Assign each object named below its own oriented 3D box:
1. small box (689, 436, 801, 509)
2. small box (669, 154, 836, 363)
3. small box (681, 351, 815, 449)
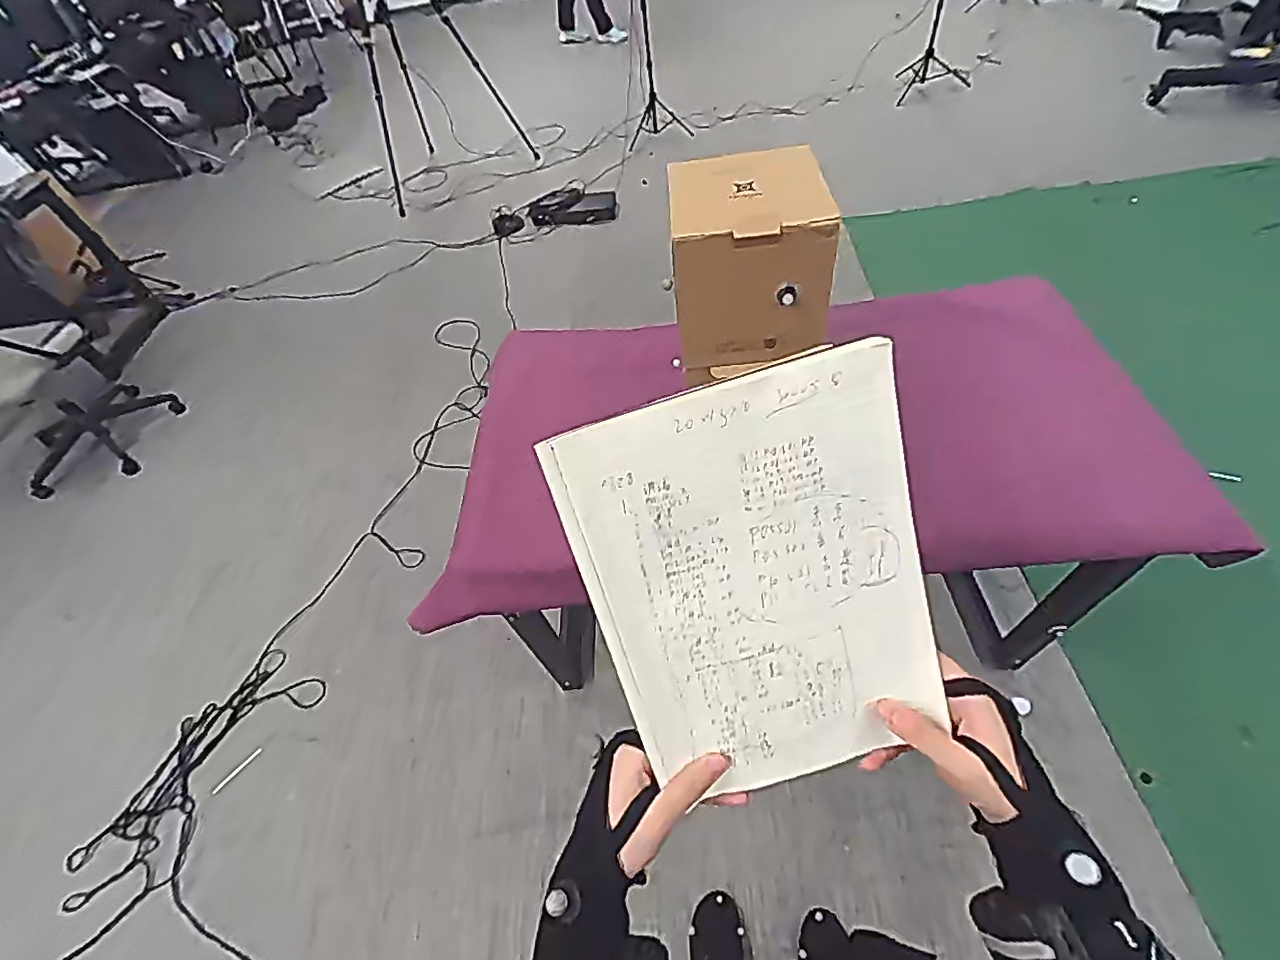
[{"bbox_3d":[0.168,-0.062,0.907,0.168,0.176,0.179,-5,52,6],"label":"small box"},{"bbox_3d":[0.124,-0.254,0.644,0.168,0.176,0.179,-4,51,6],"label":"small box"},{"bbox_3d":[0.146,-0.158,0.774,0.168,0.176,0.179,-5,51,6],"label":"small box"}]
